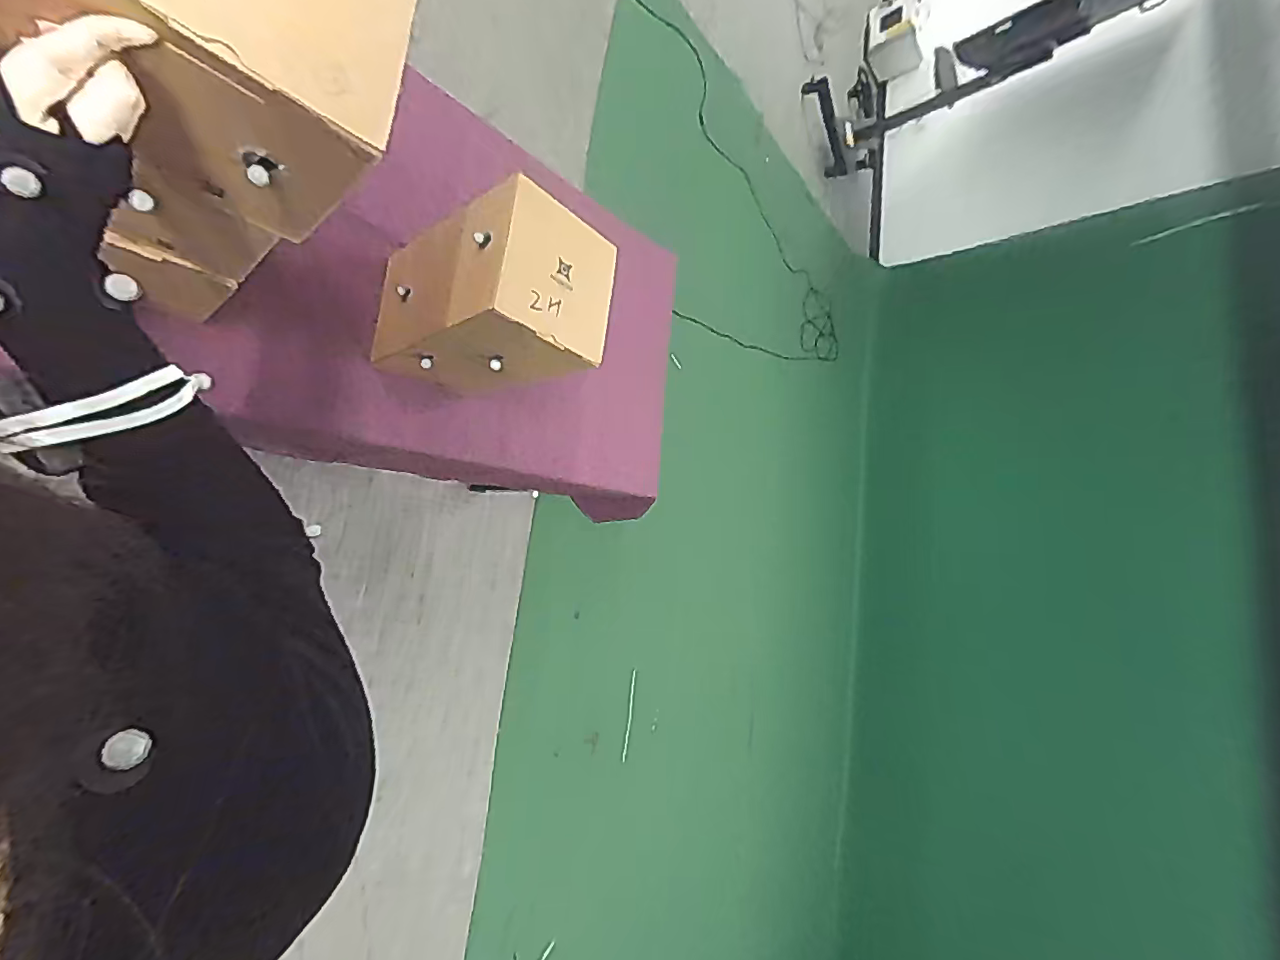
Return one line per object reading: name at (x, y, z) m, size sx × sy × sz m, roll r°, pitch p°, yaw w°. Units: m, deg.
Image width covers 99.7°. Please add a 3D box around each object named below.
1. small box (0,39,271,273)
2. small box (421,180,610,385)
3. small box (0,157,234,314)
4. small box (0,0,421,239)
small box at (-0.390, -0.303, 0.451) m, size 0.168 × 0.176 × 0.179 m, roll 18°, pitch 74°, yaw -48°
small box at (-0.164, -0.242, 0.712) m, size 0.168 × 0.176 × 0.179 m, roll 20°, pitch 74°, yaw -47°
small box at (-0.518, -0.293, 0.556) m, size 0.168 × 0.176 × 0.179 m, roll 17°, pitch 77°, yaw -48°
small box at (-0.265, -0.290, 0.346) m, size 0.168 × 0.176 × 0.179 m, roll 17°, pitch 76°, yaw -48°
